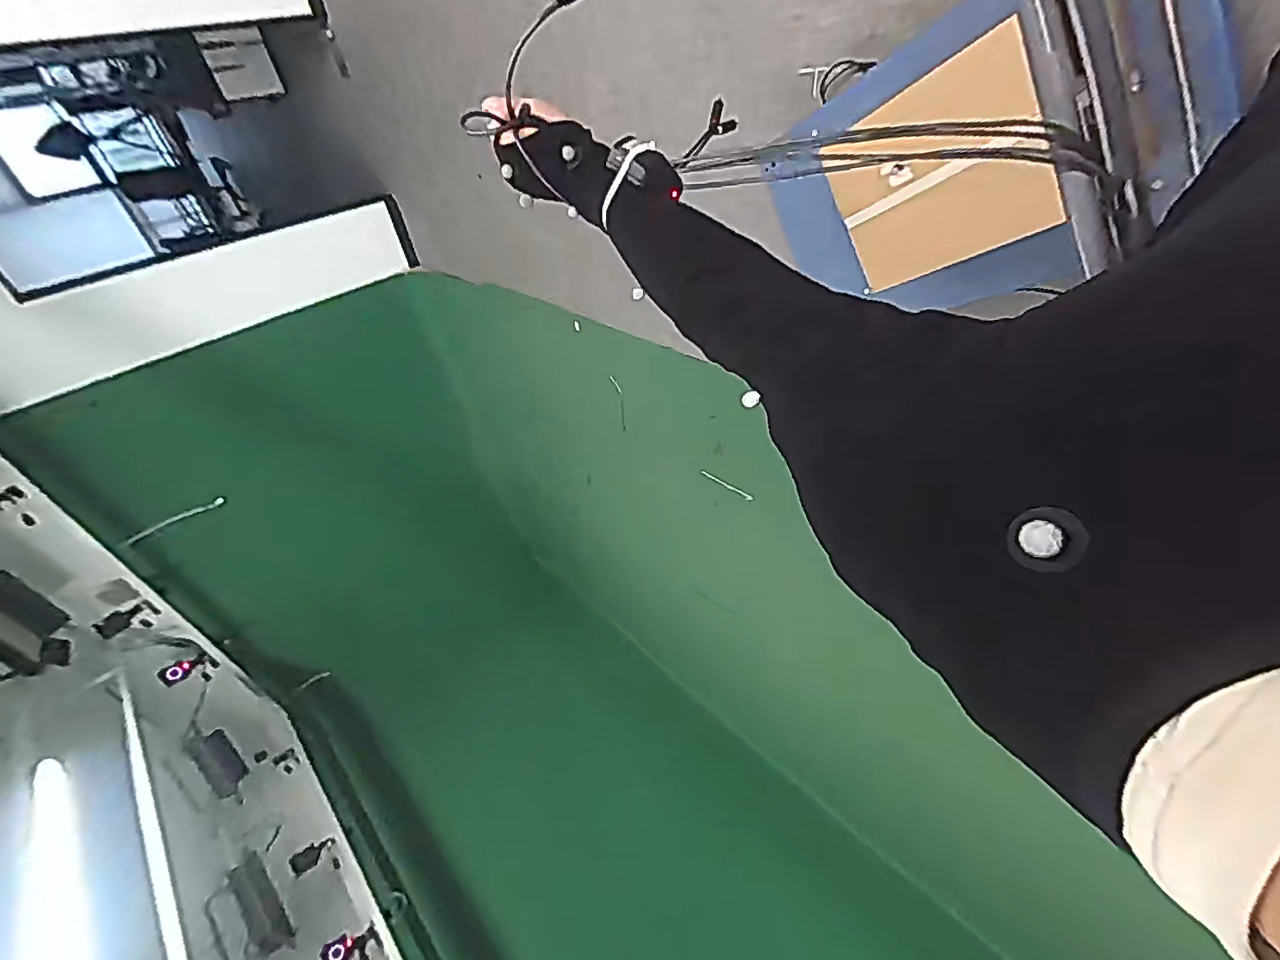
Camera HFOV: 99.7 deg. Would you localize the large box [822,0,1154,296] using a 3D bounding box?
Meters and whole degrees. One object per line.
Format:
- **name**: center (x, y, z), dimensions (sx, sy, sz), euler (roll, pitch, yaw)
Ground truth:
- **large box**: center (0.647, -0.614, 1.032), dimensions (0.408, 0.320, 0.320), euler (-5, 116, 58)
